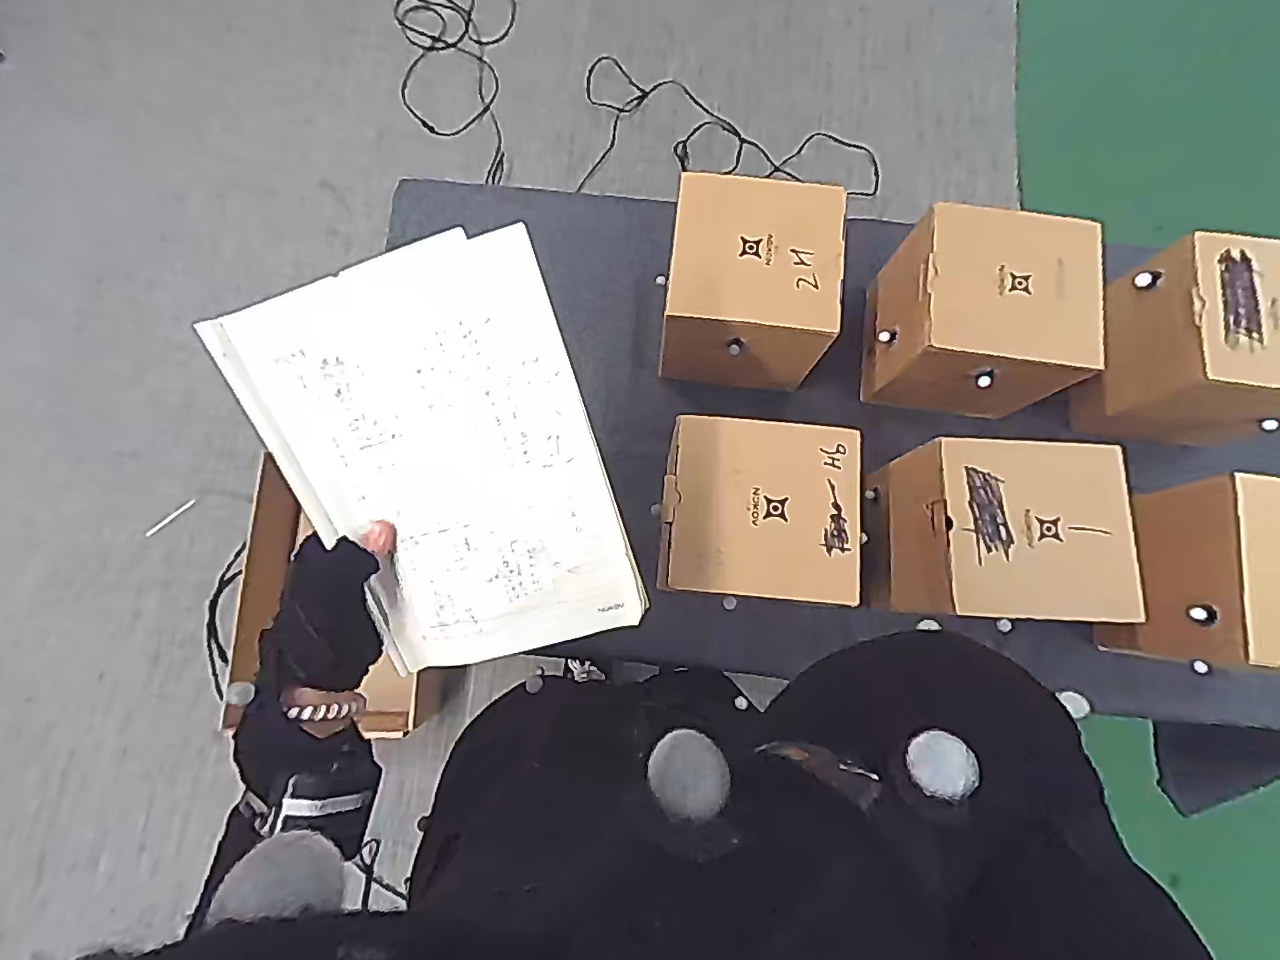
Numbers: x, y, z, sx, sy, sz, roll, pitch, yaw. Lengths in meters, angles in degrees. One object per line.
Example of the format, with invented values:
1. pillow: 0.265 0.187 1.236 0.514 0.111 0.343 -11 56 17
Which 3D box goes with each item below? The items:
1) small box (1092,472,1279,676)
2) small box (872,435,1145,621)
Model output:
1. small box: 0.618 0.106 0.567 0.168 0.176 0.179 9 78 1
2. small box: 0.361 0.059 0.570 0.179 0.176 0.168 3 78 -1
